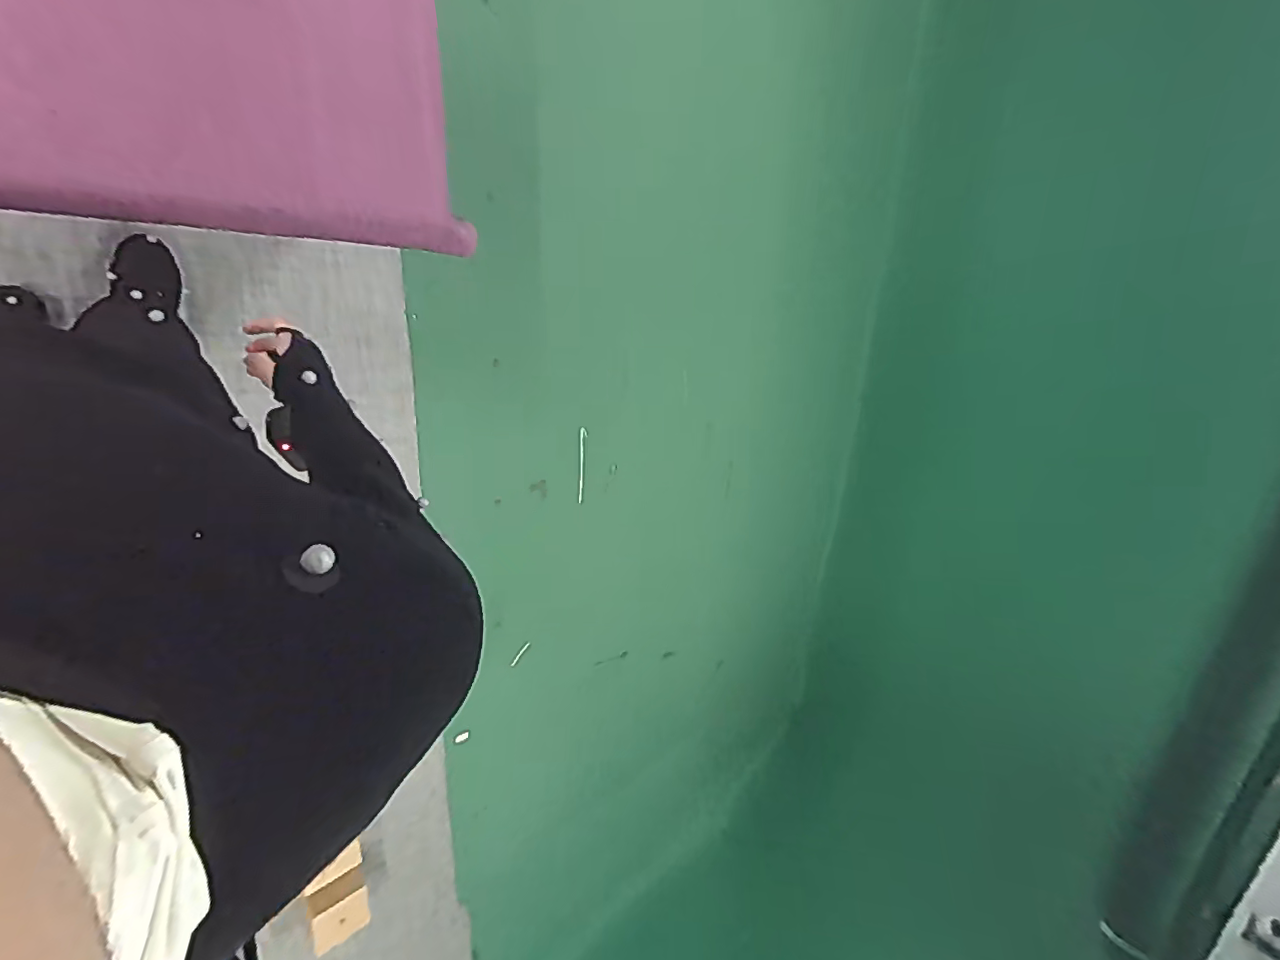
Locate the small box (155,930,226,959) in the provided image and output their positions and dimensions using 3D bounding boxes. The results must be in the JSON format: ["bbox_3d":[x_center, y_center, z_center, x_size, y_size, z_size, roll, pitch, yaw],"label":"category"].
[{"bbox_3d":[-1.307,1.473,1.575,0.168,0.176,0.179,-12,115,-43],"label":"small box"}]
